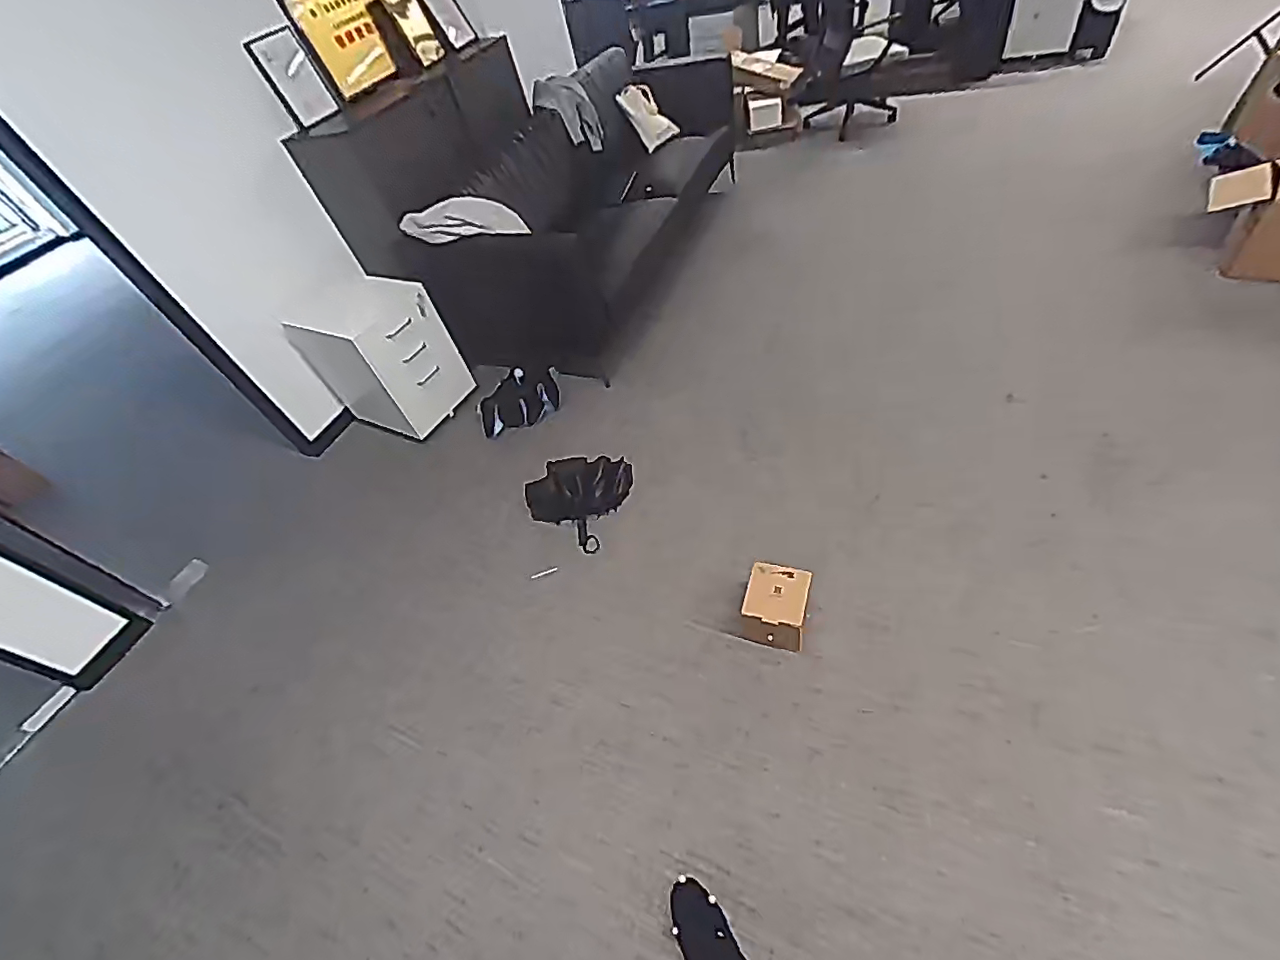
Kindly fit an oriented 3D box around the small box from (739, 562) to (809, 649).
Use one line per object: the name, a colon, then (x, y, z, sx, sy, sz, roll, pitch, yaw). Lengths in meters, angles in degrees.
small box: (0.397, 0.369, 1.579, 0.168, 0.176, 0.179, 8, 54, 22)
